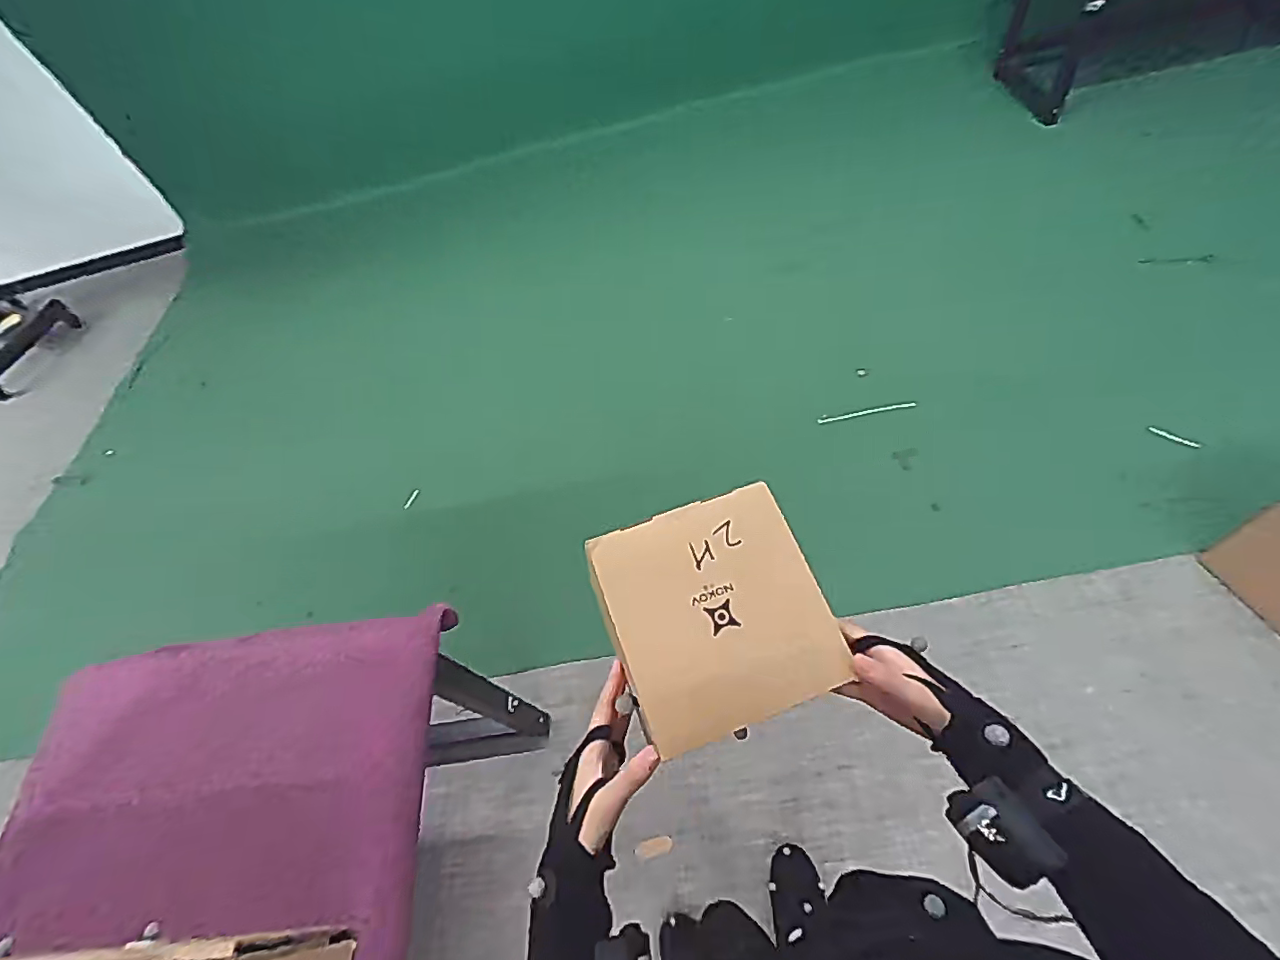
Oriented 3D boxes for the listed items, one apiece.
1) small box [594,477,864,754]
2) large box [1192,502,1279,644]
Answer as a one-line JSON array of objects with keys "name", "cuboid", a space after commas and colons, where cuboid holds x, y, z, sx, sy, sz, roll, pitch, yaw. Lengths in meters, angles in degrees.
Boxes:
[{"name": "small box", "cuboid": [0.063, 0.126, 0.495, 0.168, 0.176, 0.179, -17, 68, -10]}, {"name": "large box", "cuboid": [1.568, 0.220, 1.140, 0.320, 0.320, 0.408, -22, 53, -4]}]
